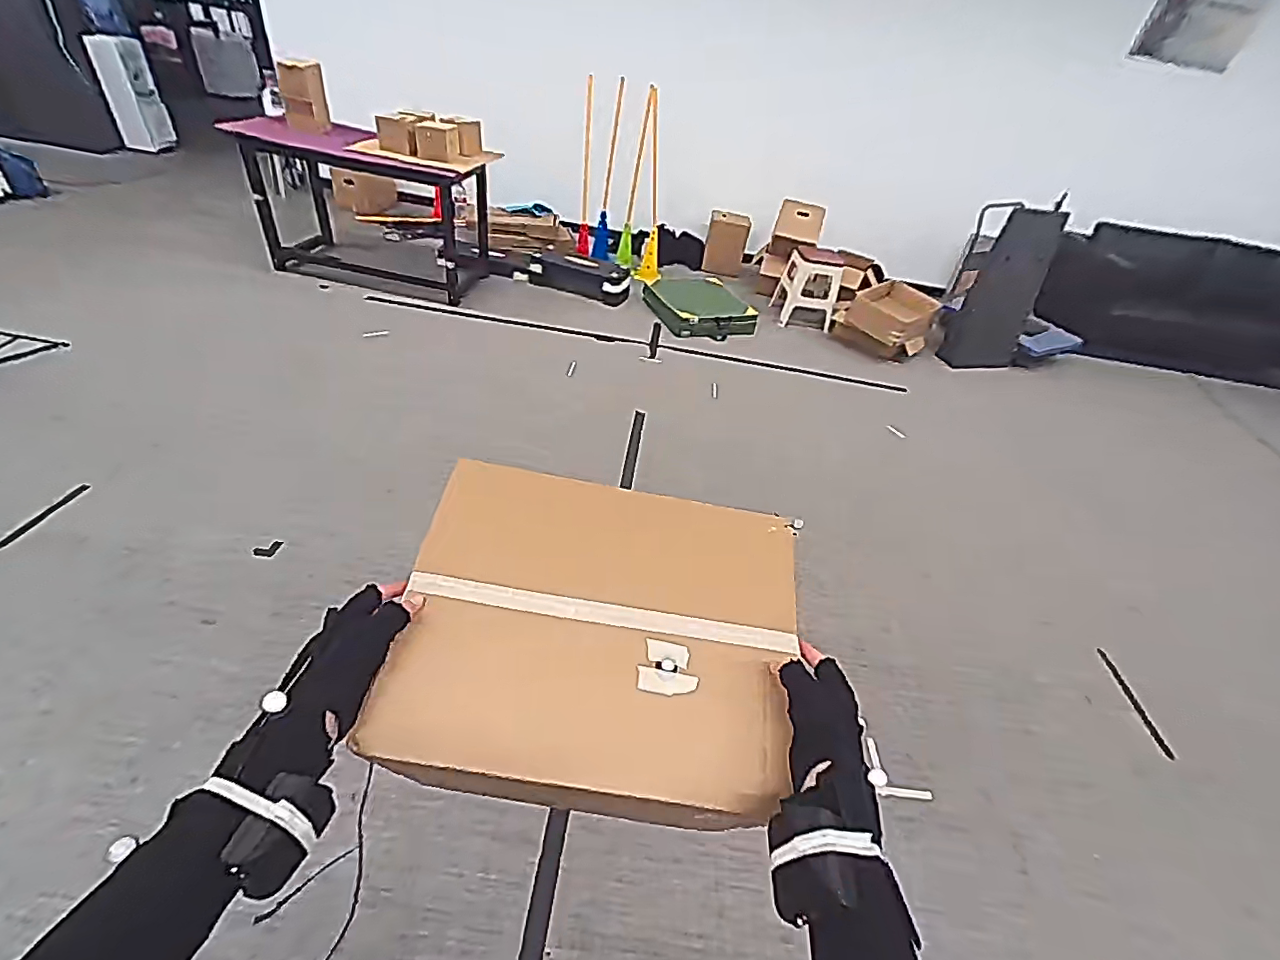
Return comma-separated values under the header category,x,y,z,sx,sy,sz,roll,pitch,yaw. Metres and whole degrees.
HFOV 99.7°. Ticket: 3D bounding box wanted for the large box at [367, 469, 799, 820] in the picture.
category,x,y,z,sx,sy,sz,roll,pitch,yaw
large box,-0.055,0.224,0.691,0.408,0.320,0.320,10,55,-3
